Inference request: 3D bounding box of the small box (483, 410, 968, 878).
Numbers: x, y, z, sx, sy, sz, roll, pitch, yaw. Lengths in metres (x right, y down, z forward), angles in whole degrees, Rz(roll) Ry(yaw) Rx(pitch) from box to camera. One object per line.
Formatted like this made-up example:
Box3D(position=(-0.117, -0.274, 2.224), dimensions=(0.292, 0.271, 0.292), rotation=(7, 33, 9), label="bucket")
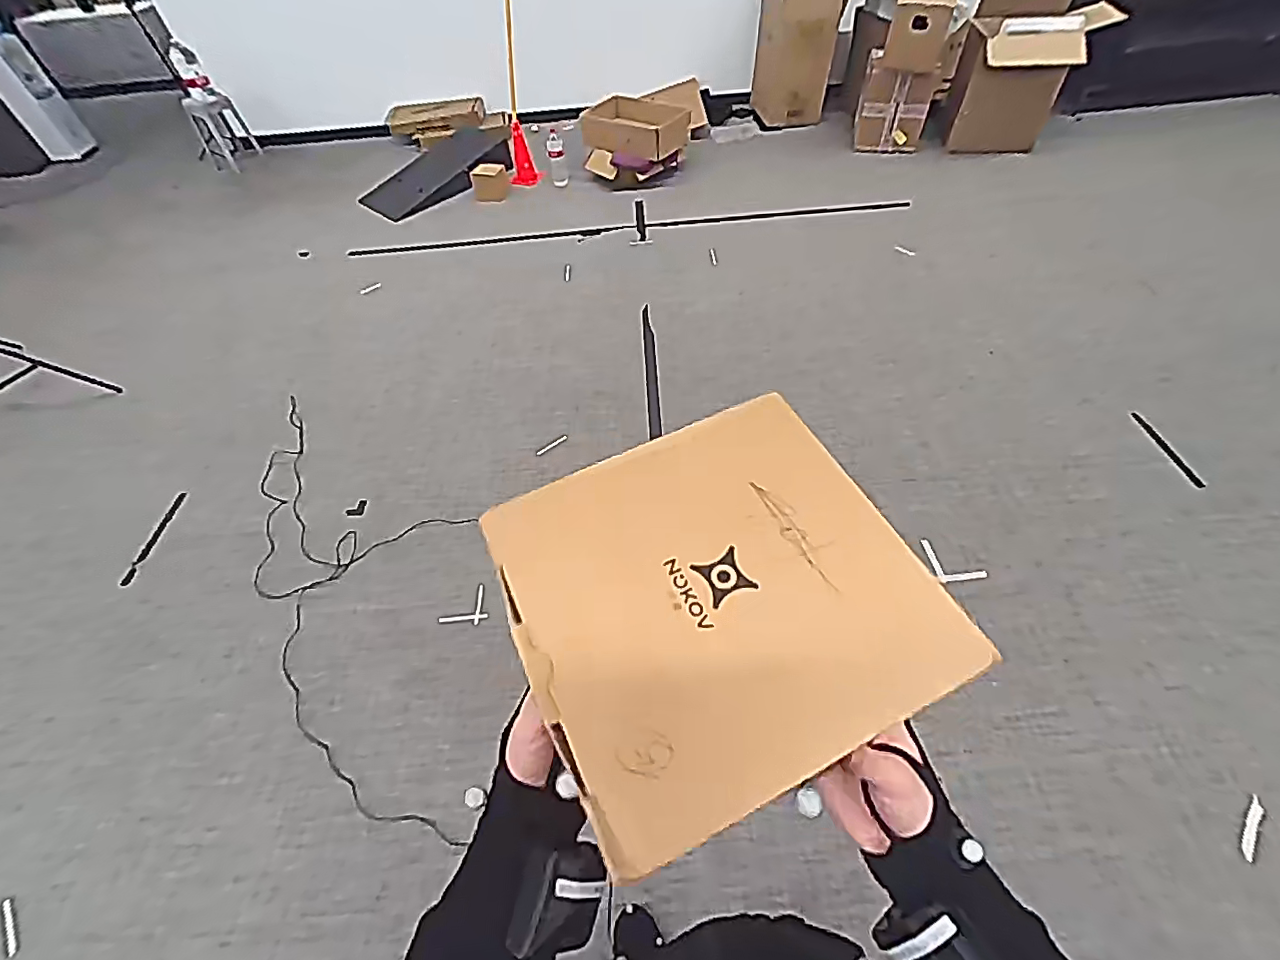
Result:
Box3D(position=(0.035, 0.097, 0.321), dimensions=(0.179, 0.176, 0.168), rotation=(-25, 61, -14), label="small box")
